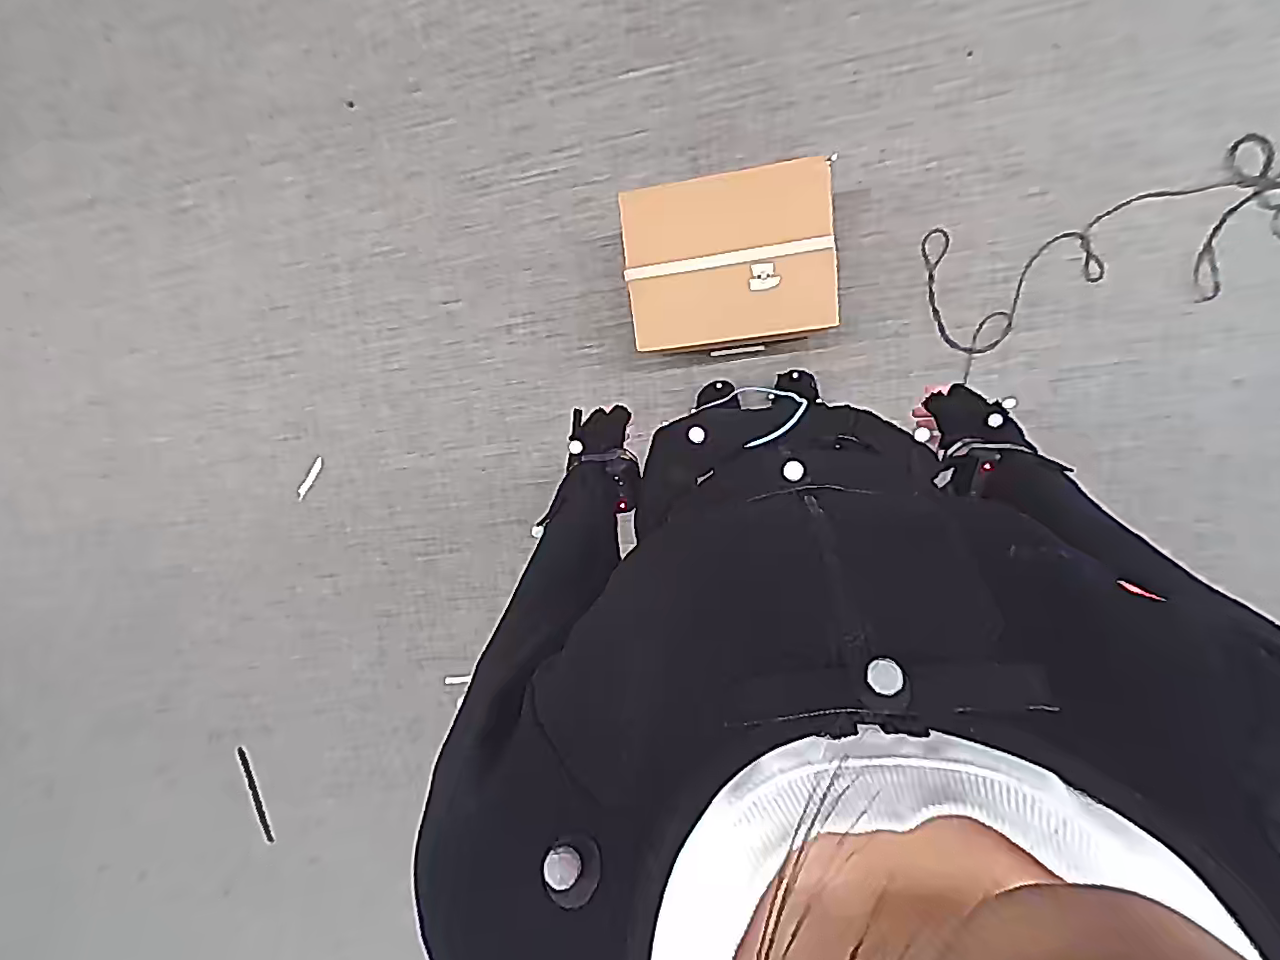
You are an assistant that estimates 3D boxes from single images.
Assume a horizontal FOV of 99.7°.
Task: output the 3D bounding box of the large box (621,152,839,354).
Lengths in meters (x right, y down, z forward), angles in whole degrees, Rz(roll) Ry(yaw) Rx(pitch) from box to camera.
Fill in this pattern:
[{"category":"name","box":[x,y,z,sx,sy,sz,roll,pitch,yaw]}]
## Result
[{"category":"large box","box":[0.195,-0.468,1.208,0.408,0.320,0.320,-6,101,9]}]
